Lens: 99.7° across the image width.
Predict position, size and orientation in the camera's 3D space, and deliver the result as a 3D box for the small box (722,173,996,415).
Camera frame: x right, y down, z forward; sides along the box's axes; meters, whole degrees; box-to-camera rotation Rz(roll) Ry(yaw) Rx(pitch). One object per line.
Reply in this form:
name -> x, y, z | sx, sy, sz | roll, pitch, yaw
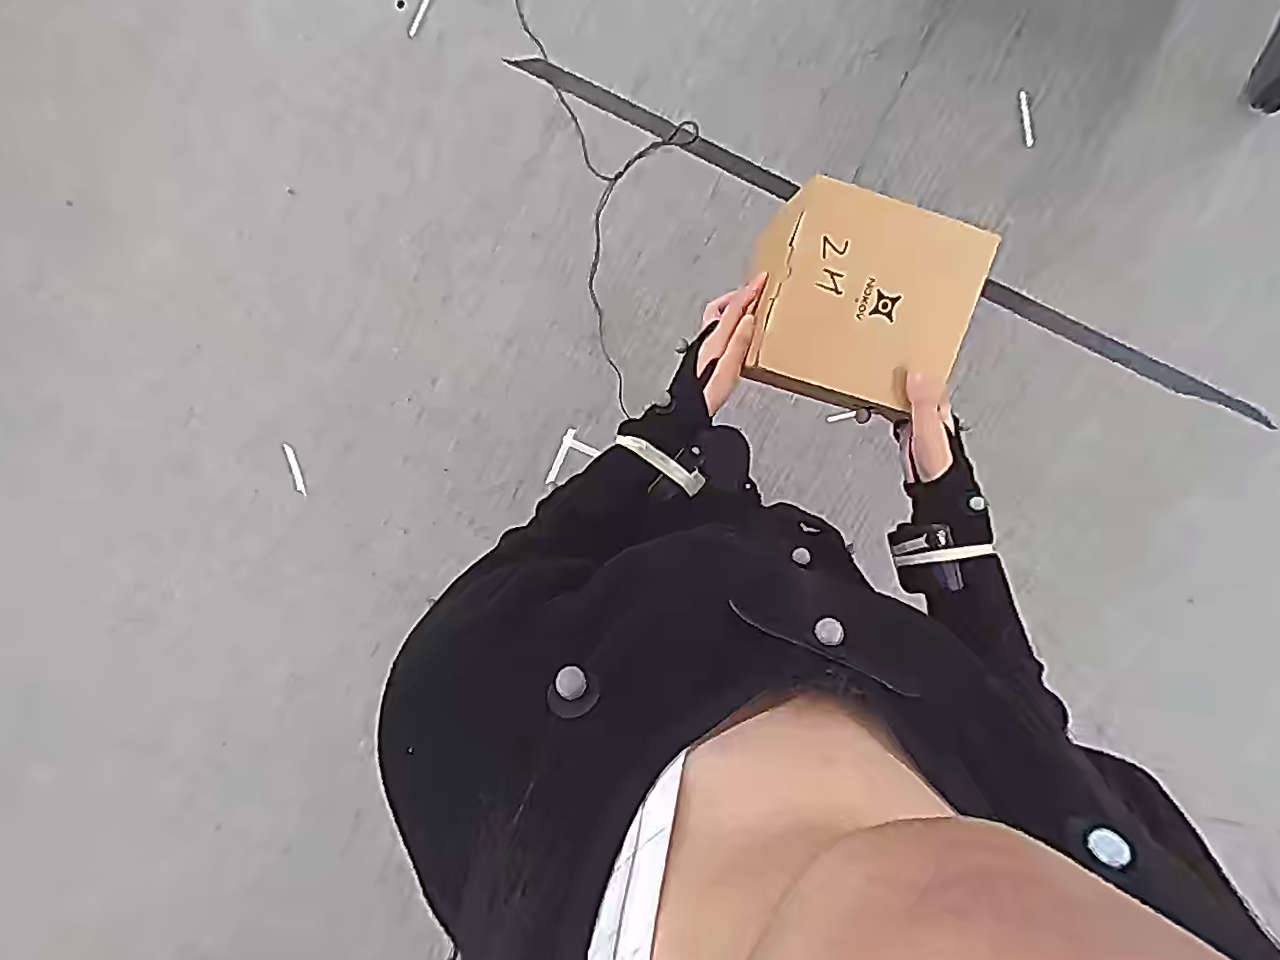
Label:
small box -> 0.201, -0.173, 0.552 | 0.179, 0.176, 0.168 | 16, 99, -5
